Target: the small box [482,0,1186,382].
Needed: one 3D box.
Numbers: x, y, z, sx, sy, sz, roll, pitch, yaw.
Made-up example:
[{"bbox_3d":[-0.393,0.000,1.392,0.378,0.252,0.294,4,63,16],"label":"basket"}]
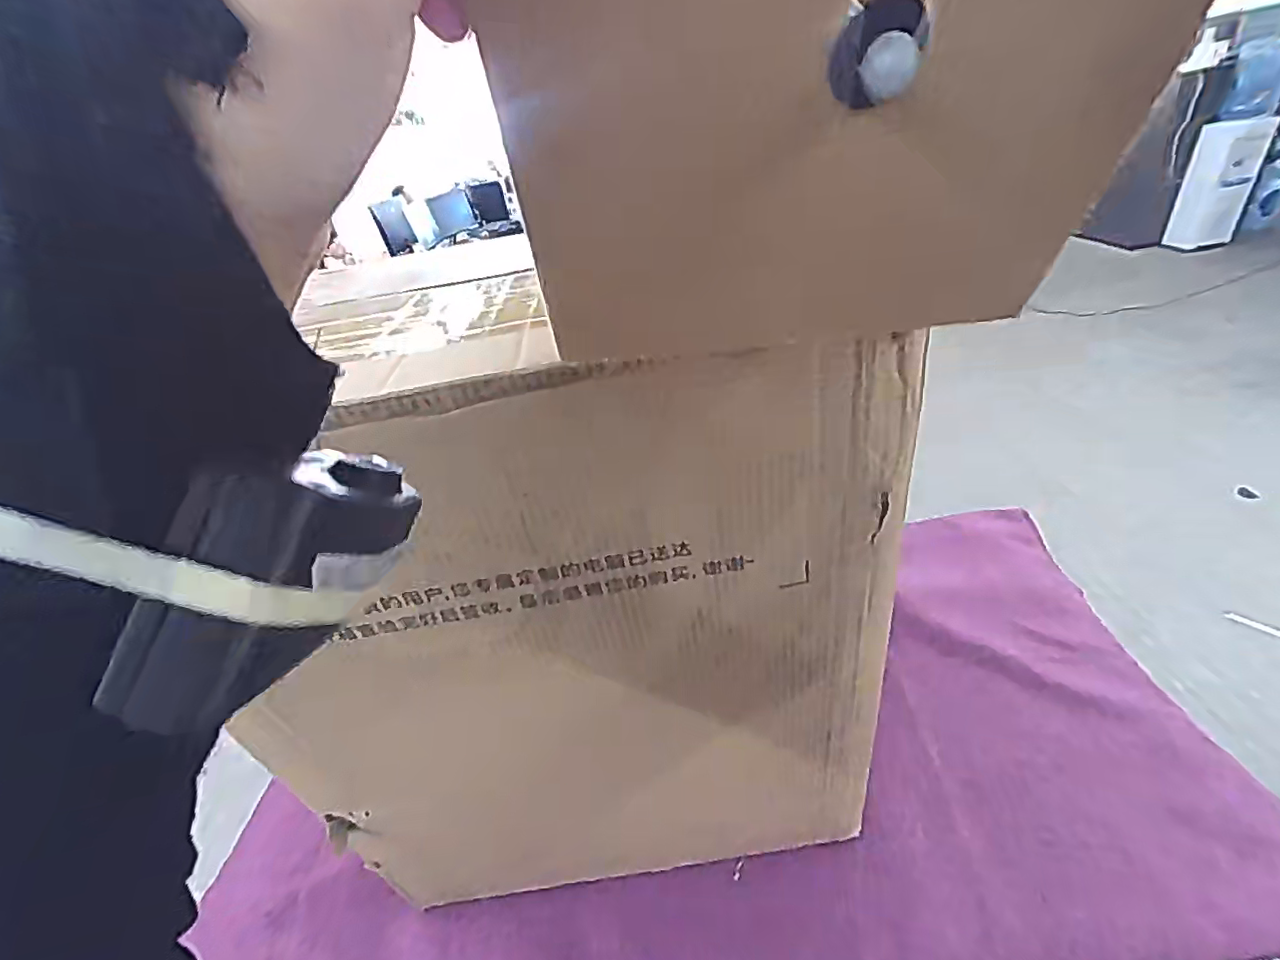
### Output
[{"bbox_3d":[0.042,-0.160,0.180,0.168,0.176,0.179,-5,56,1],"label":"small box"}]
